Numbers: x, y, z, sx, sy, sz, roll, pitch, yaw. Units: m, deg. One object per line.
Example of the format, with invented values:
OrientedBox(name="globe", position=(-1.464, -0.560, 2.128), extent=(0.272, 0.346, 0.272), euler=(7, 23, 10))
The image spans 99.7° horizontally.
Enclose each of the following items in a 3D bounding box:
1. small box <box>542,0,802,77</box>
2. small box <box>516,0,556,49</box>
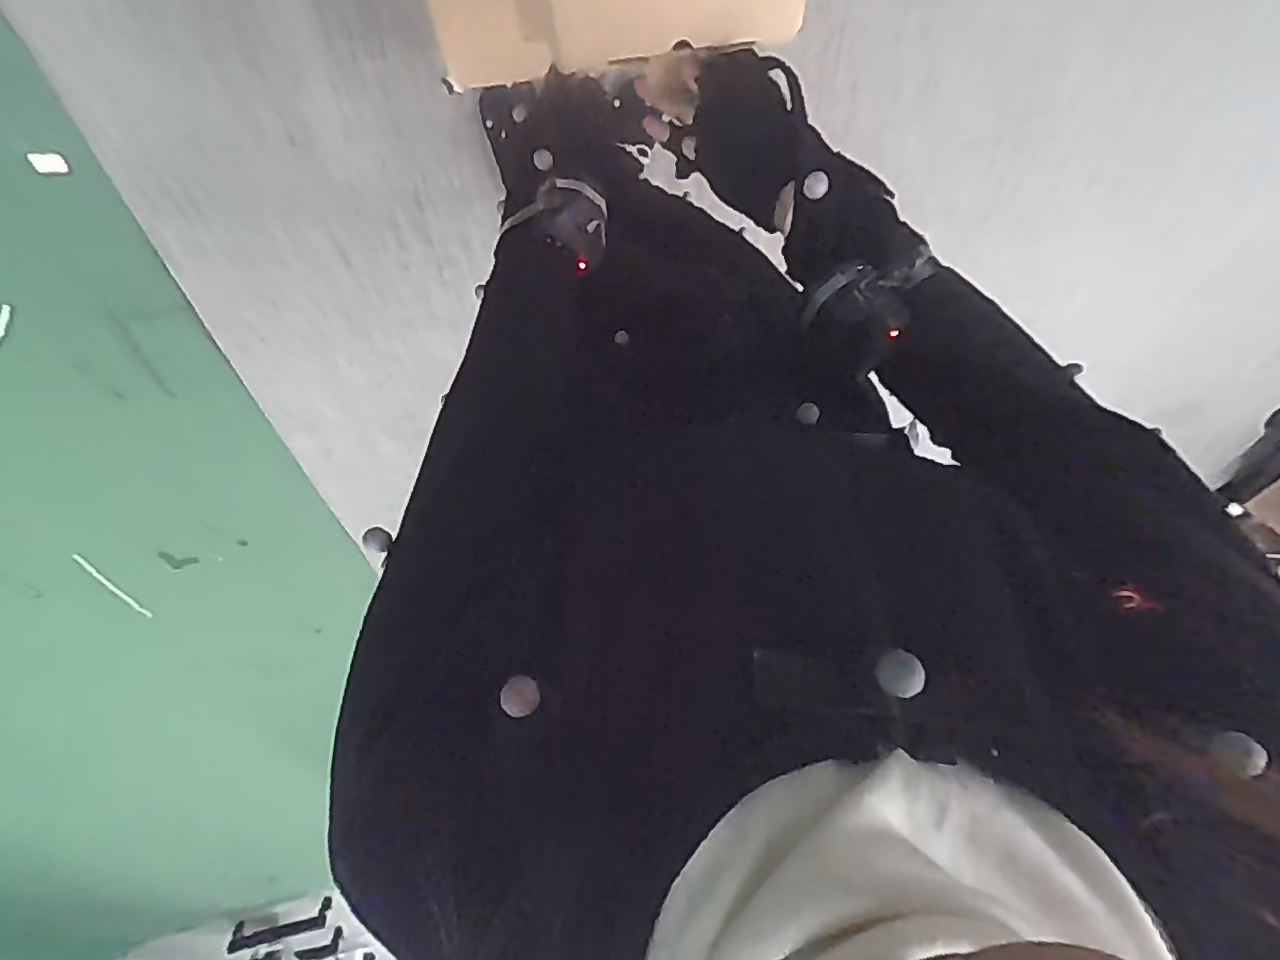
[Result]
OrientedBox(name="small box", position=(0.008, -0.401, 0.356), extent=(0.168, 0.176, 0.179), euler=(-12, 138, -4))
OrientedBox(name="small box", position=(-0.041, -0.510, 0.470), extent=(0.168, 0.176, 0.179), euler=(-12, 138, -5))
